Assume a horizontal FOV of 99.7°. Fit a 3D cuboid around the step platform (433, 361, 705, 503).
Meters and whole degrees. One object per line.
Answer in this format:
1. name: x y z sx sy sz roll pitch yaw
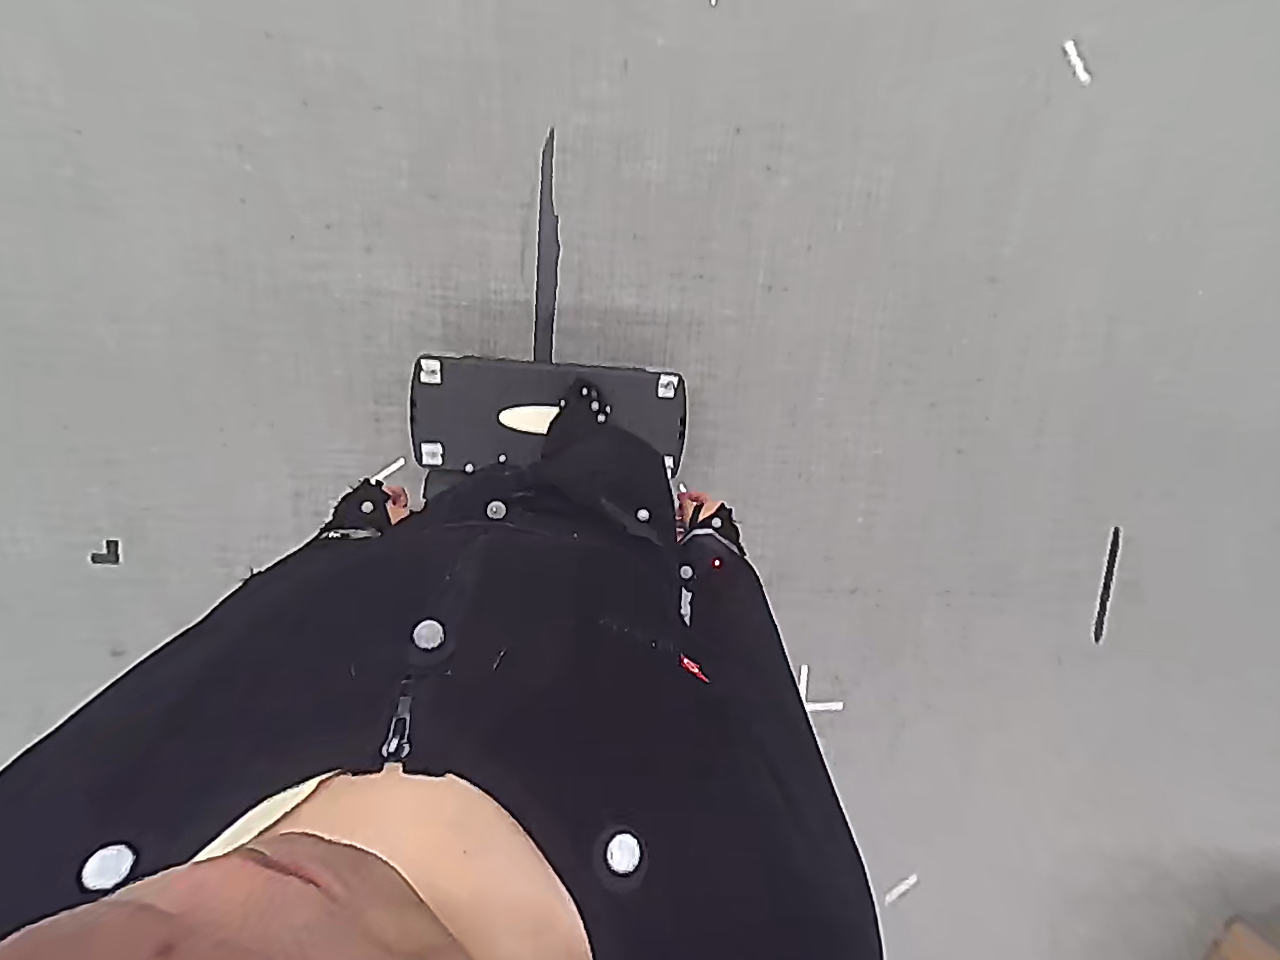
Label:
1. step platform: -0.176 -0.123 1.410 0.684 0.204 0.286 7 98 -7
